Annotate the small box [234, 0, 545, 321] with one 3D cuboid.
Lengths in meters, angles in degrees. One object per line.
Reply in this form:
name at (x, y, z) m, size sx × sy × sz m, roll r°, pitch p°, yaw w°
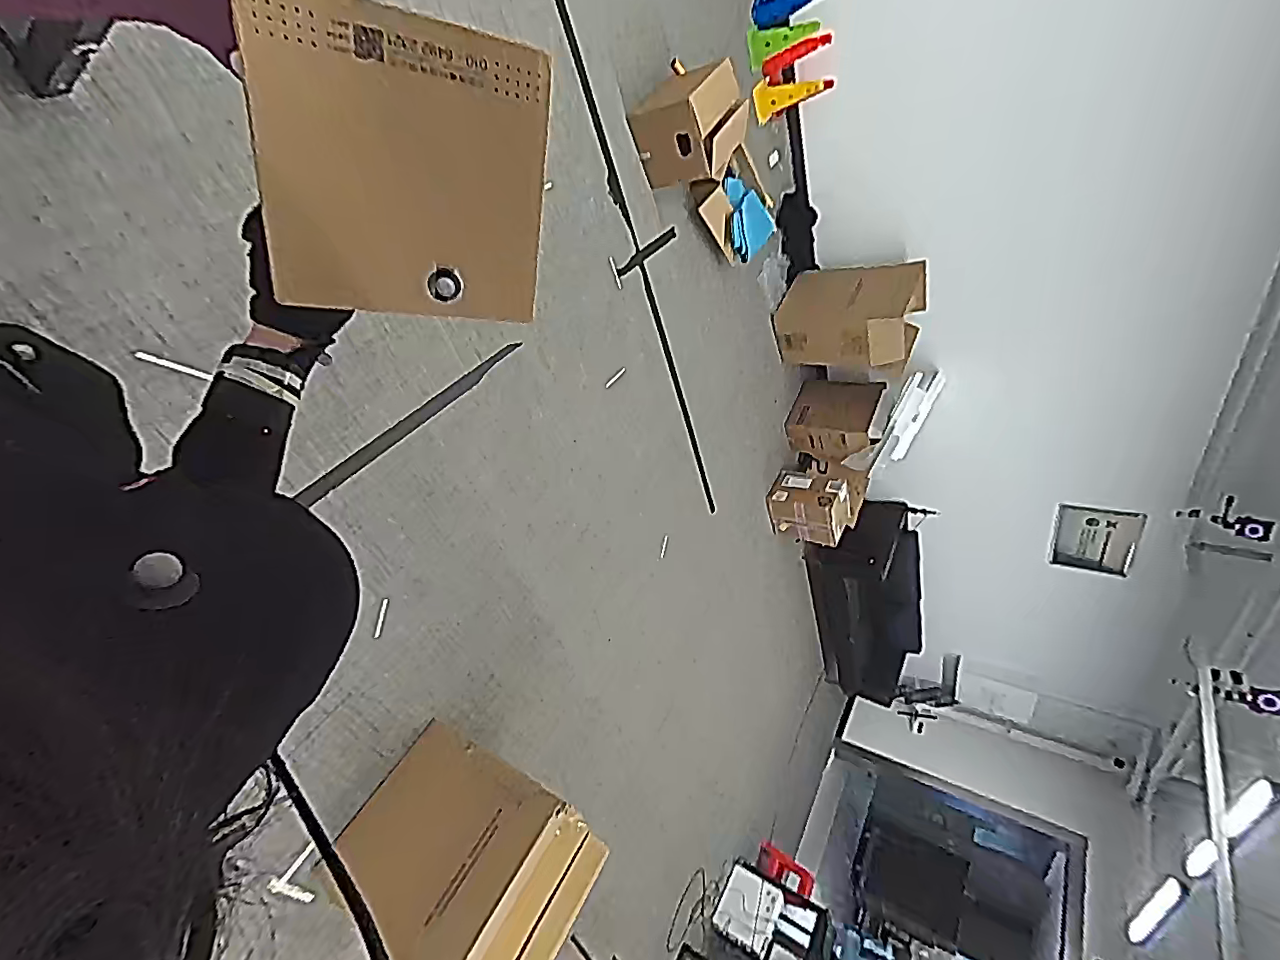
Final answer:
small box at (-0.172, -0.229, 0.393) m, size 0.168 × 0.179 × 0.176 m, roll -3°, pitch 121°, yaw -25°
